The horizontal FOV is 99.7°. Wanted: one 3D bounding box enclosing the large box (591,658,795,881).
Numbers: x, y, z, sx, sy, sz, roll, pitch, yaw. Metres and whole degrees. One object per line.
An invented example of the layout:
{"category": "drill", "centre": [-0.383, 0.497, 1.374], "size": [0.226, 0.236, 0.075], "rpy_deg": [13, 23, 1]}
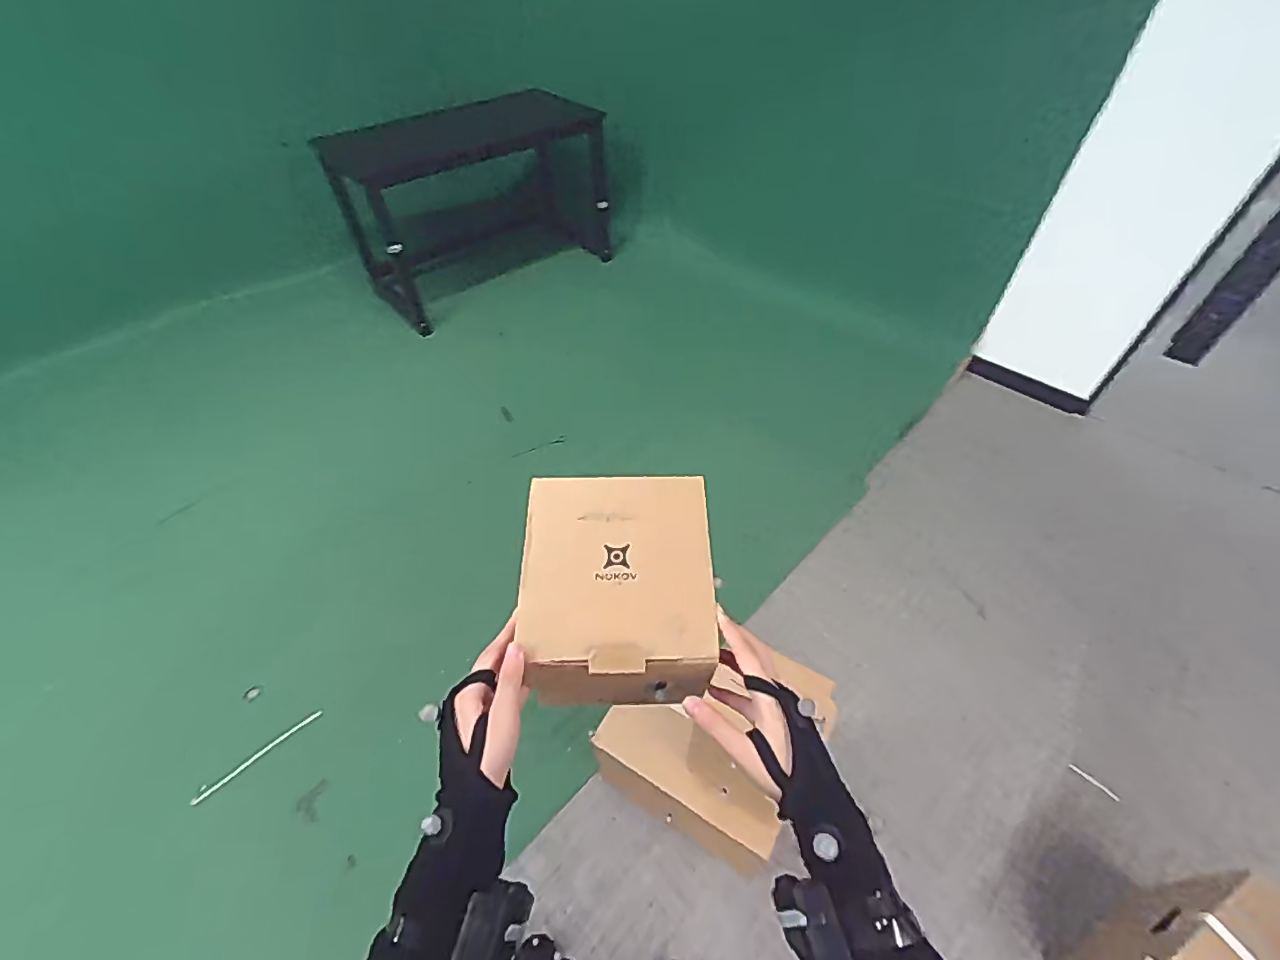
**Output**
{"category": "large box", "centre": [0.149, 0.634, 1.251], "size": [0.408, 0.320, 0.320], "rpy_deg": [23, 52, 22]}

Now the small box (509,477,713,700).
{"category": "small box", "centre": [-0.023, 0.114, 0.535], "size": [0.168, 0.176, 0.179], "rpy_deg": [0, 57, -1]}

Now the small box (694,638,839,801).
{"category": "small box", "centre": [0.204, 0.405, 0.904], "size": [0.179, 0.176, 0.168], "rpy_deg": [23, 53, 22]}

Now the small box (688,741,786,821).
{"category": "small box", "centre": [0.208, 0.514, 1.027], "size": [0.179, 0.176, 0.168], "rpy_deg": [28, 54, 24]}
